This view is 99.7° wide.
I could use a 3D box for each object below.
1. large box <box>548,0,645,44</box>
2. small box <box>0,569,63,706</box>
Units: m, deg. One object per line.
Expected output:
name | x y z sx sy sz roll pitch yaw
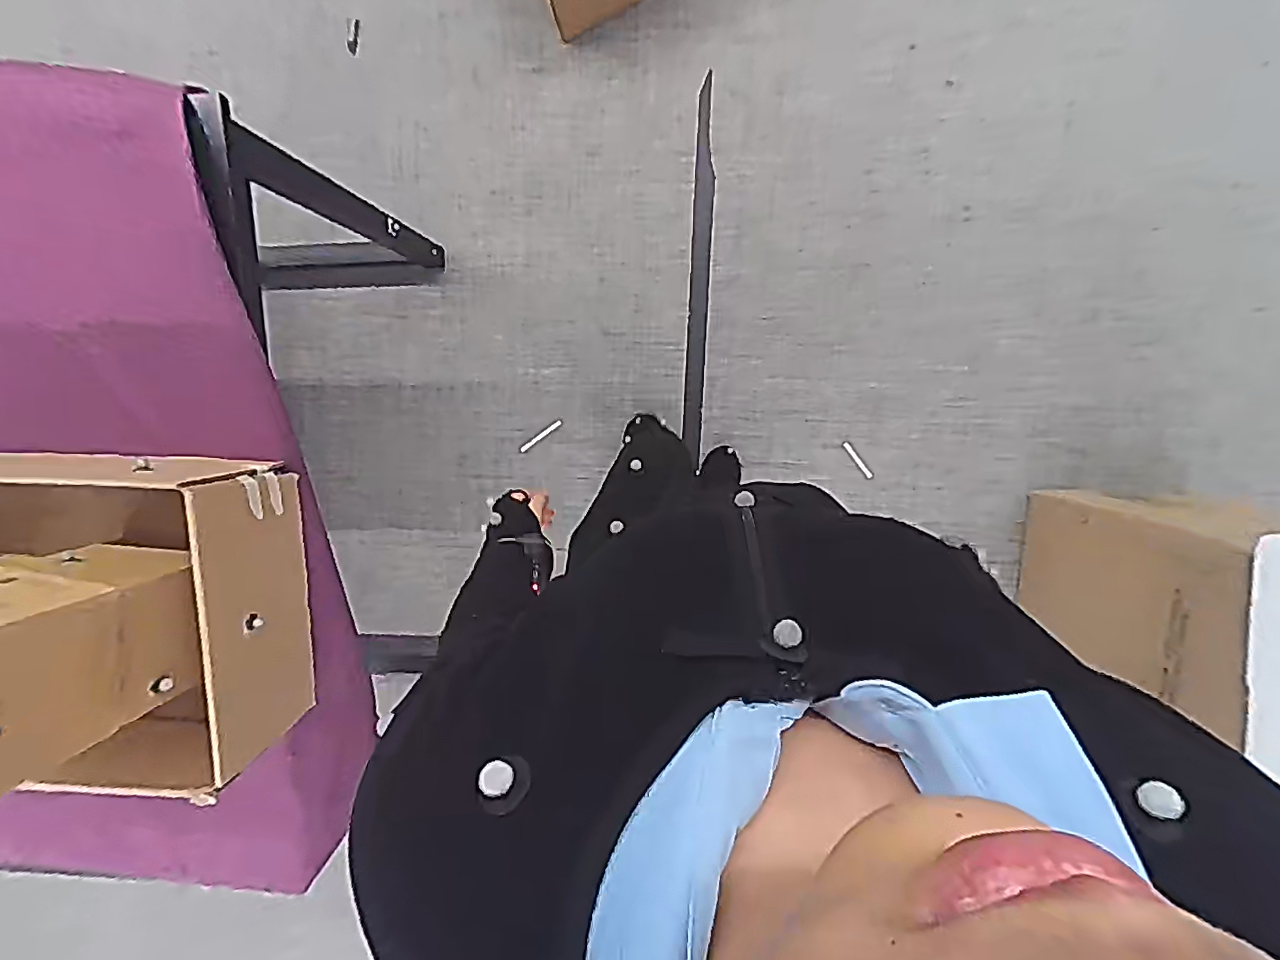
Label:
large box | -0.072 -1.264 1.145 0.408 0.320 0.320 -25 95 8
small box | -0.933 0.219 0.710 0.168 0.176 0.179 -2 98 3
